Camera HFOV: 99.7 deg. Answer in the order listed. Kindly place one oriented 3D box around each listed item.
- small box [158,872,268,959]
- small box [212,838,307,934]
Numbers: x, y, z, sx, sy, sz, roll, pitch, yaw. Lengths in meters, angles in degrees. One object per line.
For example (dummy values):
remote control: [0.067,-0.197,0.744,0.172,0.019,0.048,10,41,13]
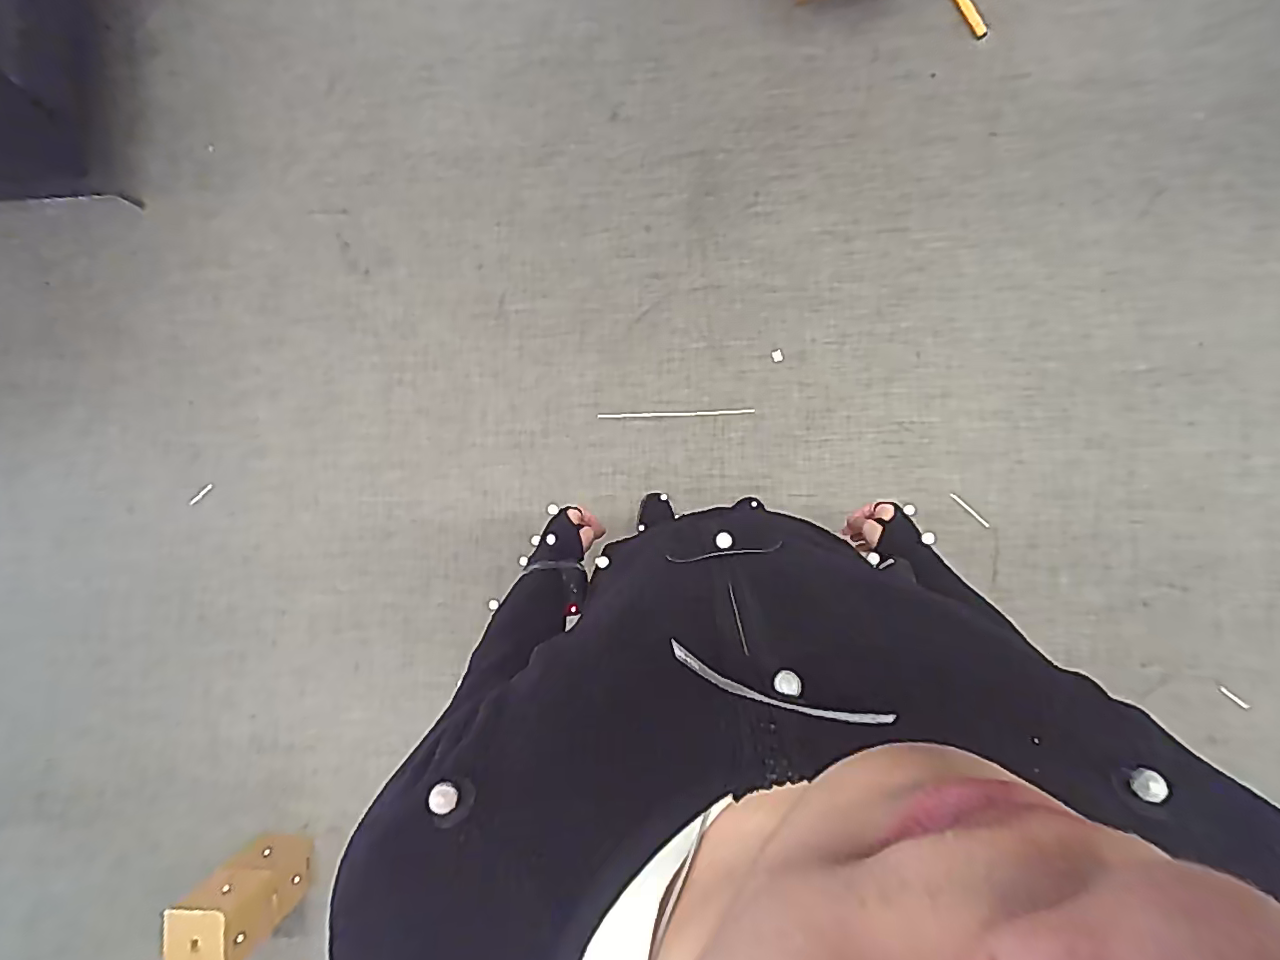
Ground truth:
small box: [-1.124,1.181,1.434,0.168,0.176,0.179,-1,88,4]
small box: [-1.119,1.192,1.597,0.179,0.176,0.168,1,87,3]
